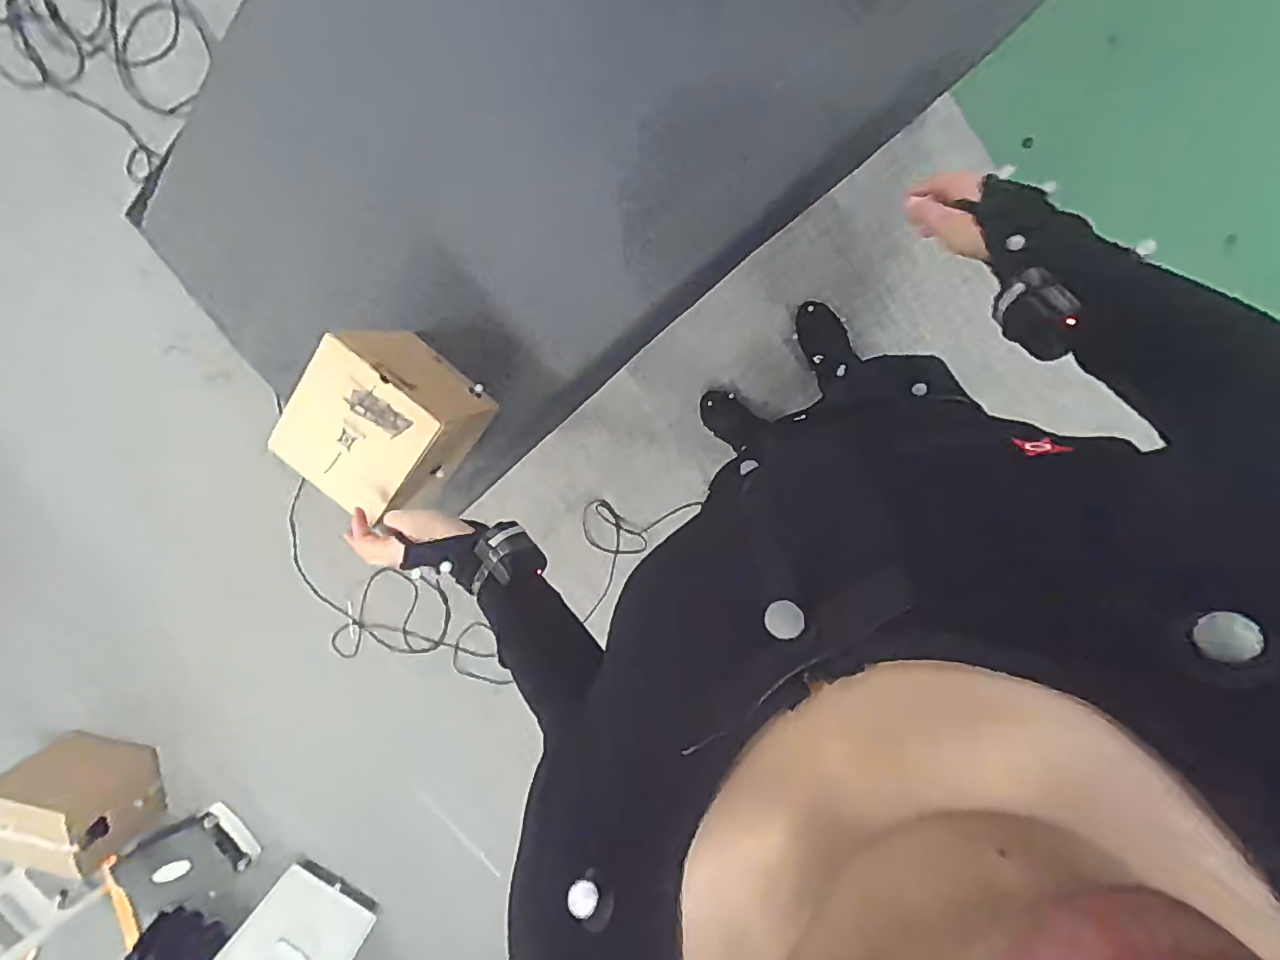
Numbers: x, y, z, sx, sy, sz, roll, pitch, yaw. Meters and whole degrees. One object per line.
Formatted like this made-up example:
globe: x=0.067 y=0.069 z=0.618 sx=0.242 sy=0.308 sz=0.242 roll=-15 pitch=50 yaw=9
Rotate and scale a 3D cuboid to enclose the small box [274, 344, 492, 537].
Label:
small box: x=-0.321 y=-0.063 z=0.714 sx=0.168 sy=0.176 sz=0.179 roll=40 pitch=108 yaw=-3
